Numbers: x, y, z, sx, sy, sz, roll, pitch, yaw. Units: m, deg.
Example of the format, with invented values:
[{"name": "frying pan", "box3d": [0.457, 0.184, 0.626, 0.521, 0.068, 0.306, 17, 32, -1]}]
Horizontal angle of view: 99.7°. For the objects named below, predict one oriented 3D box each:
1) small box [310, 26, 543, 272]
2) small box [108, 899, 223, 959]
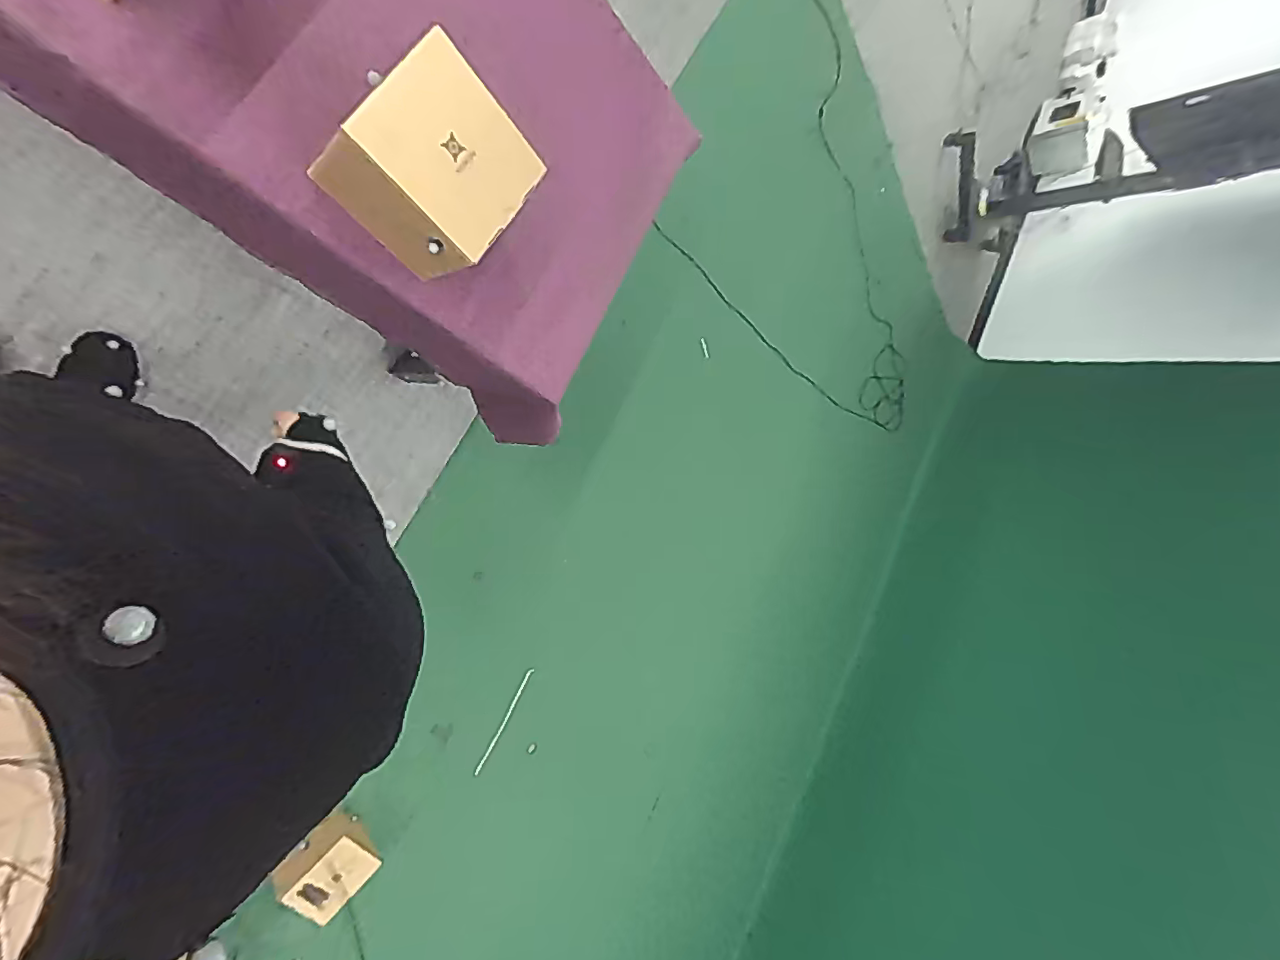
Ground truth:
[{"name": "small box", "box3d": [-0.261, -0.378, 0.657, 0.179, 0.176, 0.168, 43, 71, -40]}, {"name": "small box", "box3d": [-1.086, 1.132, 1.244, 0.179, 0.176, 0.168, -20, 113, -37]}]
